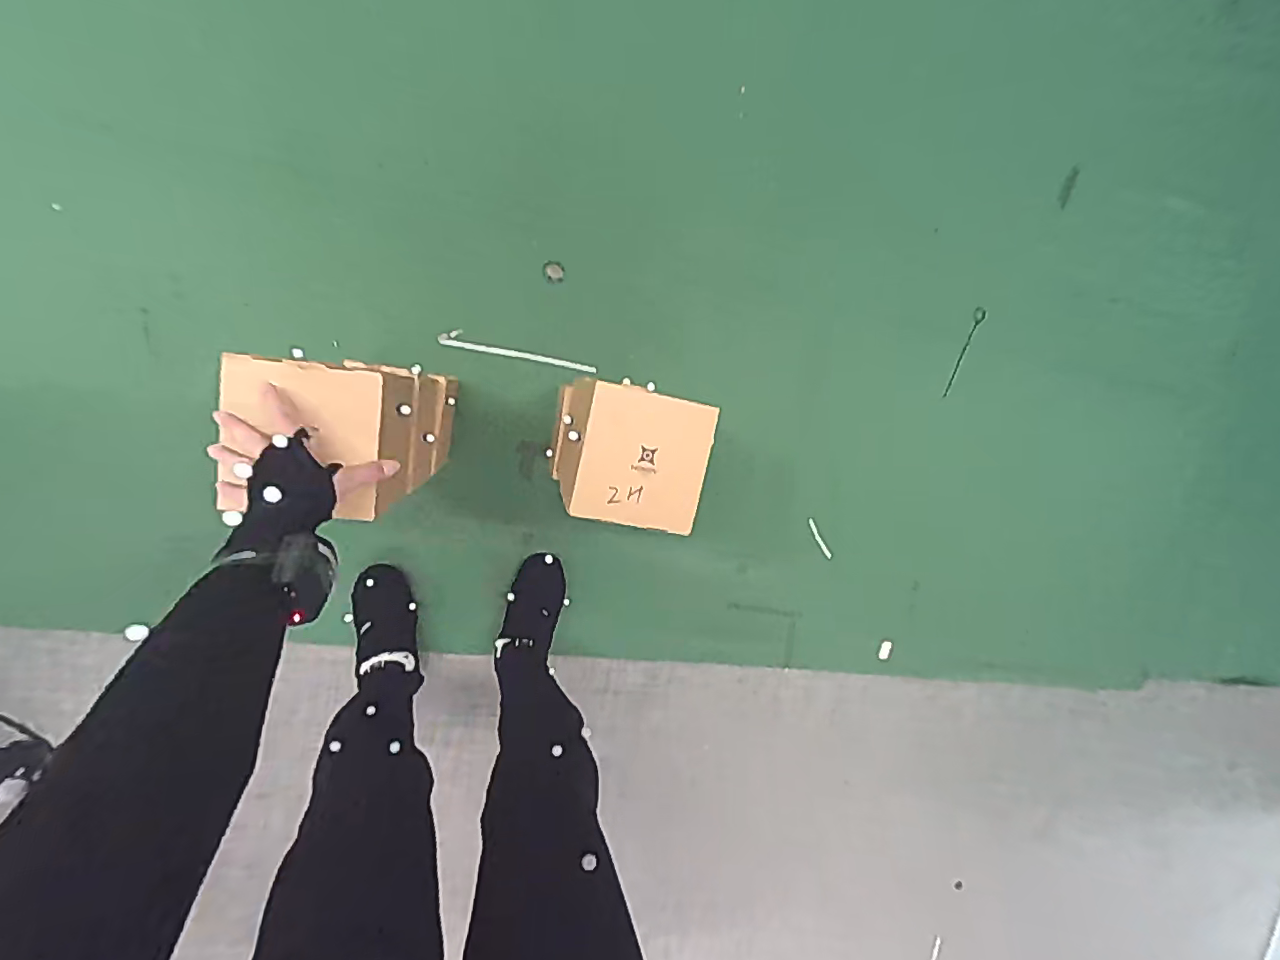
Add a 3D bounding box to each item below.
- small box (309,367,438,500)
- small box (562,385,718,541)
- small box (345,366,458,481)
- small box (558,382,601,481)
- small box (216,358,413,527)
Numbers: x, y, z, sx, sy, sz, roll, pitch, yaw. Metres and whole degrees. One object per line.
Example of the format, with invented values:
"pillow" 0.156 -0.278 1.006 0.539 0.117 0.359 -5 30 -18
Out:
"small box" -0.419 -0.075 0.844 0.168 0.176 0.179 6 98 -12
"small box" -0.011 -0.031 0.763 0.168 0.176 0.179 11 97 -13
"small box" -0.442 -0.106 1.004 0.168 0.176 0.179 9 96 -12
"small box" -0.042 -0.061 0.922 0.168 0.176 0.179 11 96 -13
"small box" -0.395 -0.049 0.685 0.168 0.176 0.179 6 97 -11
